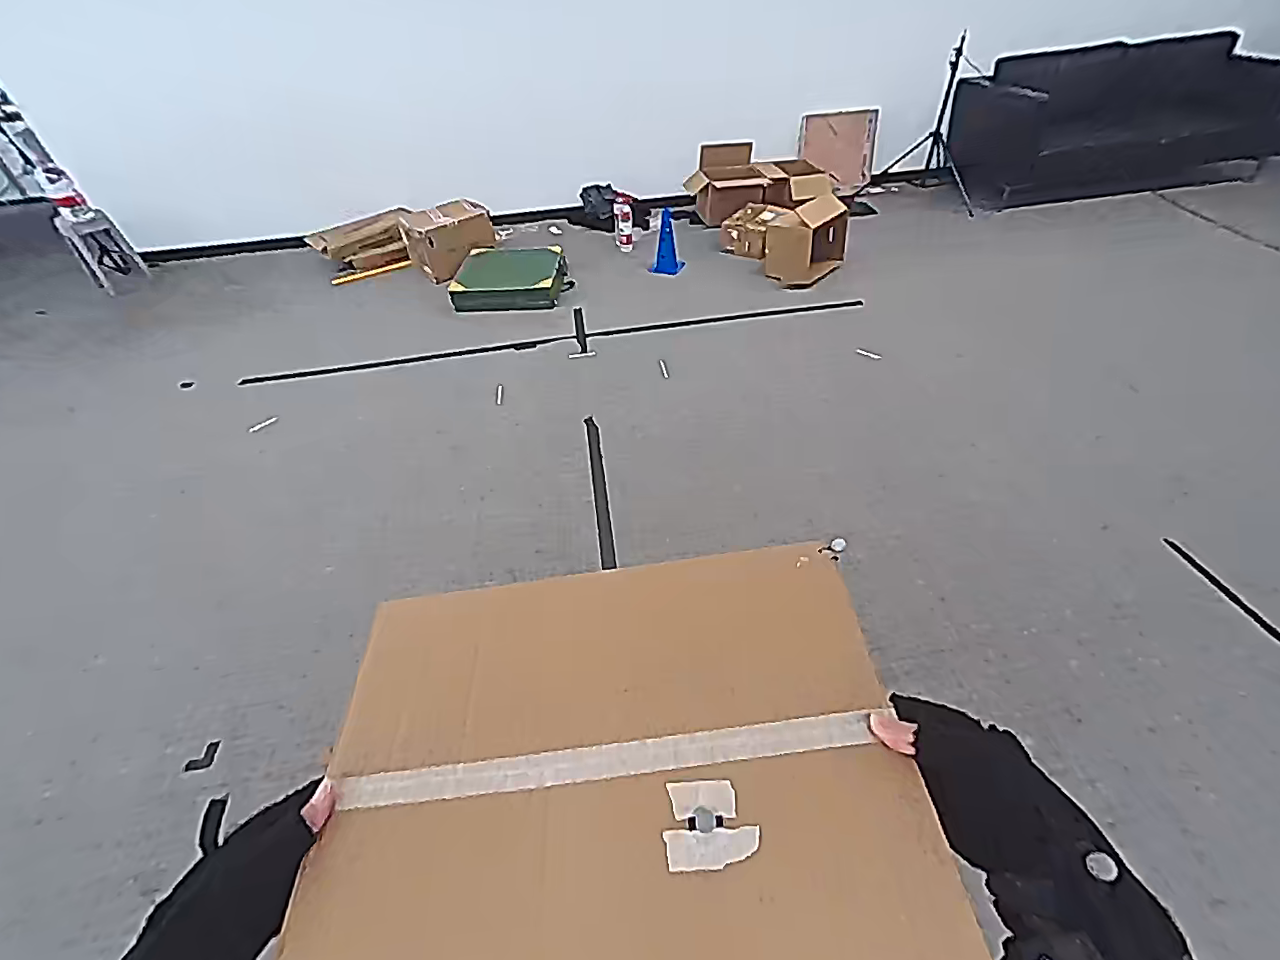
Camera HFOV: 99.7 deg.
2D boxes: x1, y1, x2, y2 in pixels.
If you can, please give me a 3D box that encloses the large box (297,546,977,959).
[{"bbox_3d":[-0.007,0.300,0.499,0.408,0.320,0.320,-8,48,2],"label":"large box"}]
